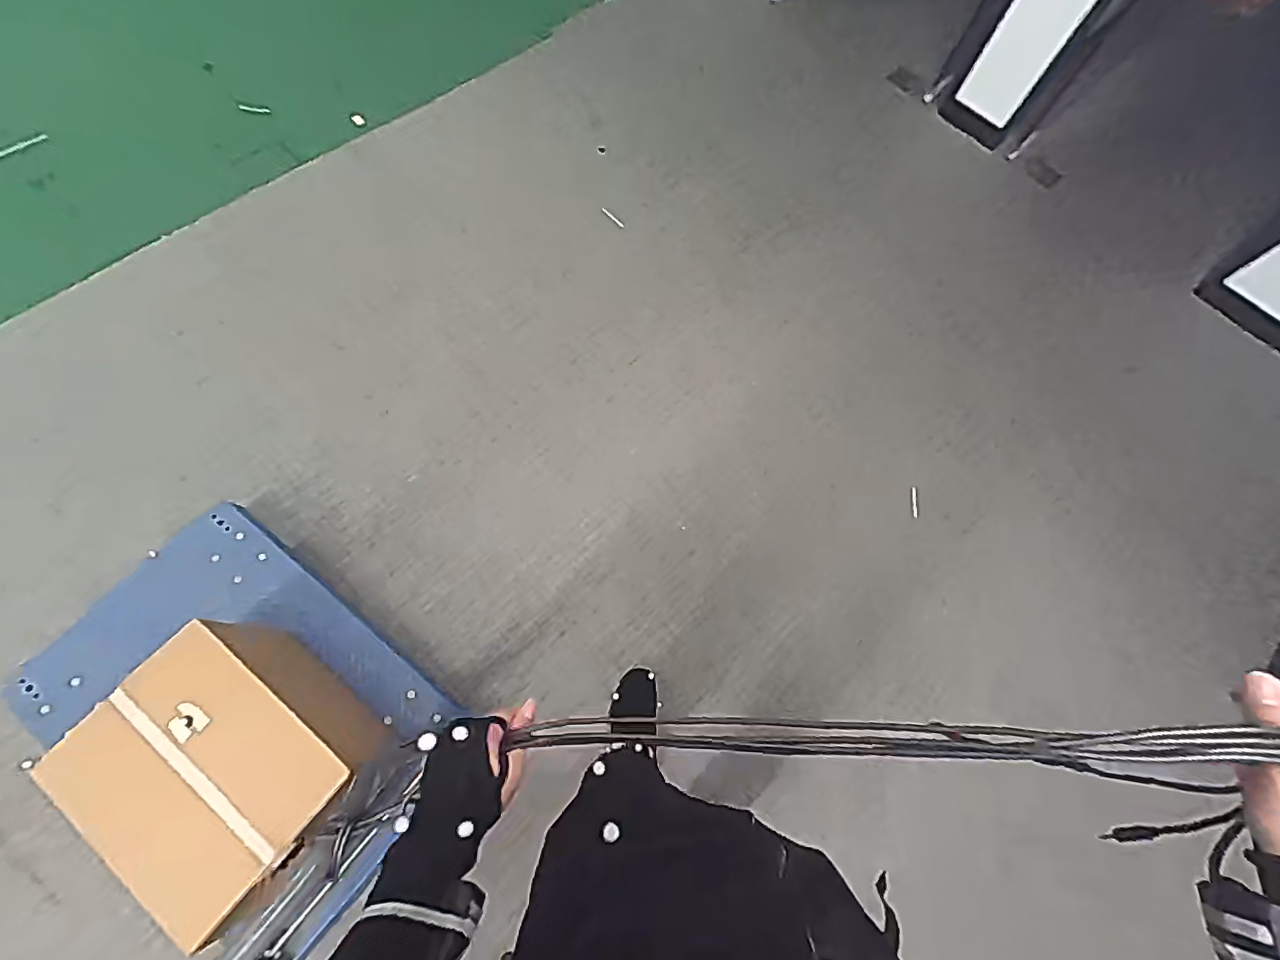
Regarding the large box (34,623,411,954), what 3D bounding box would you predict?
[{"bbox_3d":[-0.723,0.526,1.010,0.408,0.320,0.320,37,71,10],"label":"large box"}]
